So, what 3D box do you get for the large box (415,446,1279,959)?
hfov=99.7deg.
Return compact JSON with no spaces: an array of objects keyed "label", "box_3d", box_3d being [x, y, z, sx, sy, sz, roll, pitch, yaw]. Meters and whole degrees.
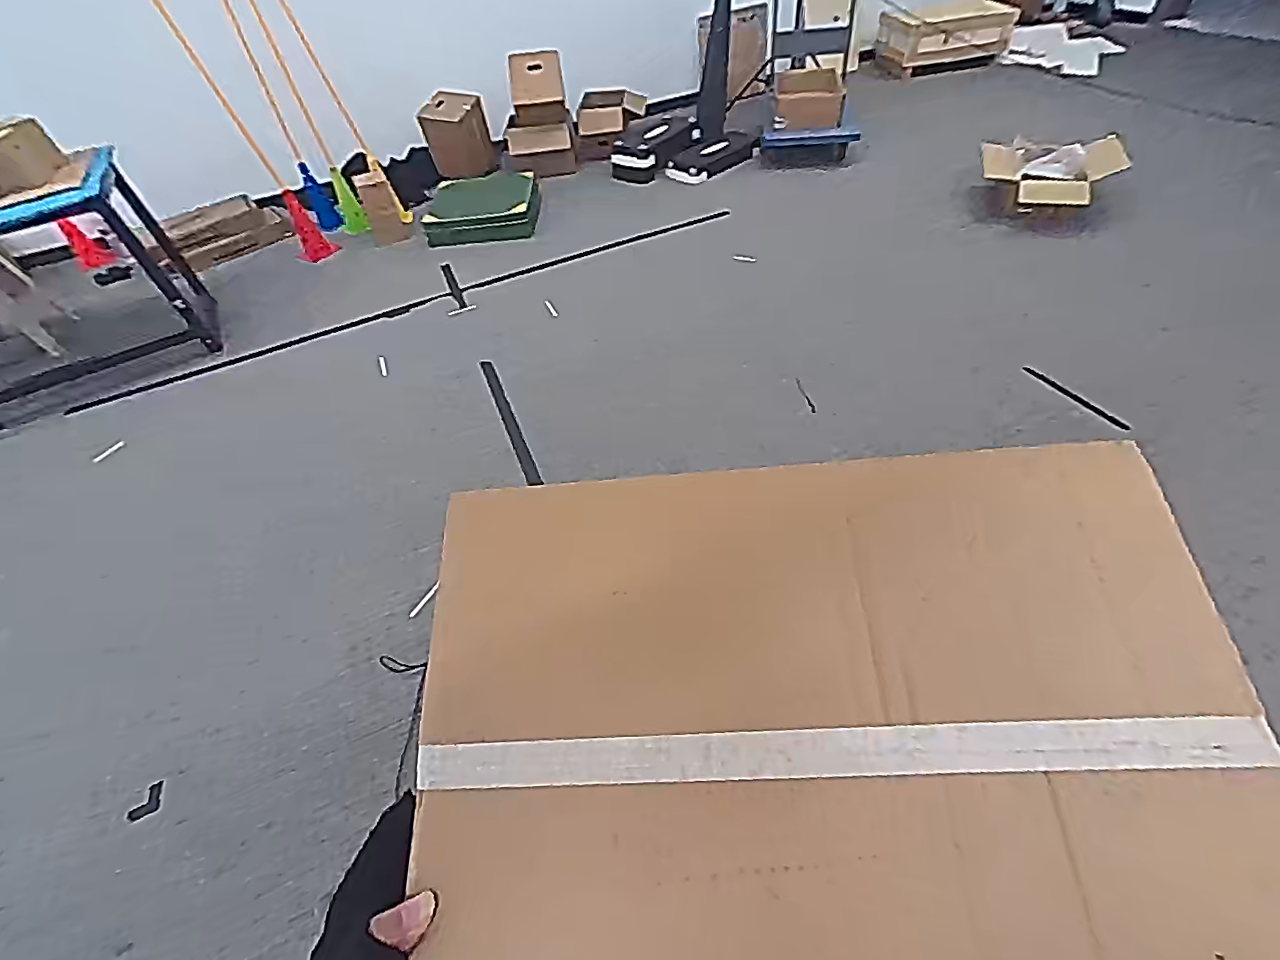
[{"label":"large box","box_3d":[0.100,0.199,0.411,0.408,0.320,0.320,-5,66,6]}]
